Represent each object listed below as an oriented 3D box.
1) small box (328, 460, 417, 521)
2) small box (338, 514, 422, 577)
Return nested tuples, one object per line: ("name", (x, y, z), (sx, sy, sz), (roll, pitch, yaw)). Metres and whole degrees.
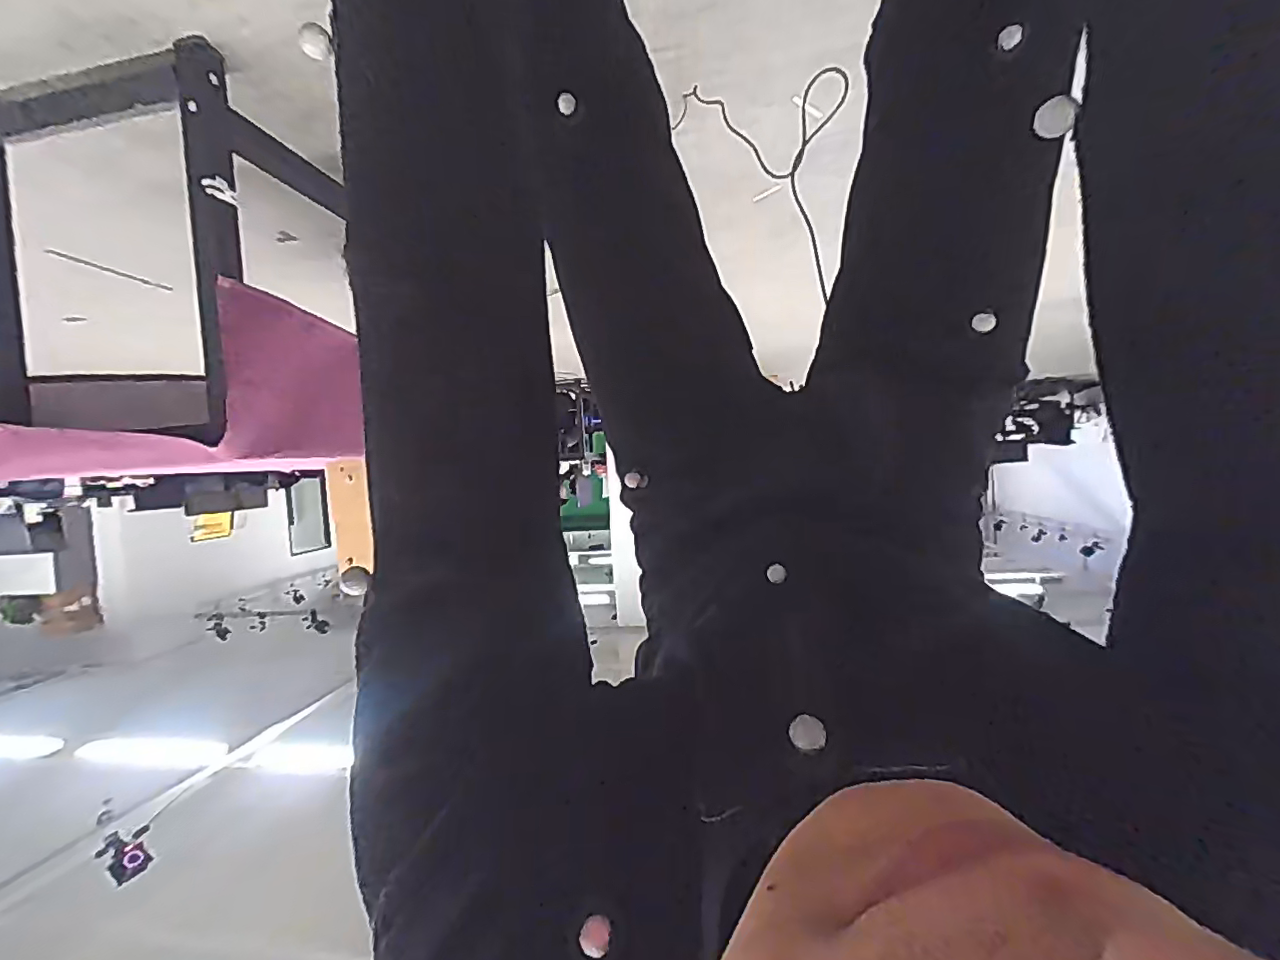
("small box", (-0.795, 0.029, 1.610), (0.168, 0.176, 0.179), (-4, -179, 20))
("small box", (-0.787, 0.193, 1.637), (0.179, 0.176, 0.168), (-4, -177, 15))
